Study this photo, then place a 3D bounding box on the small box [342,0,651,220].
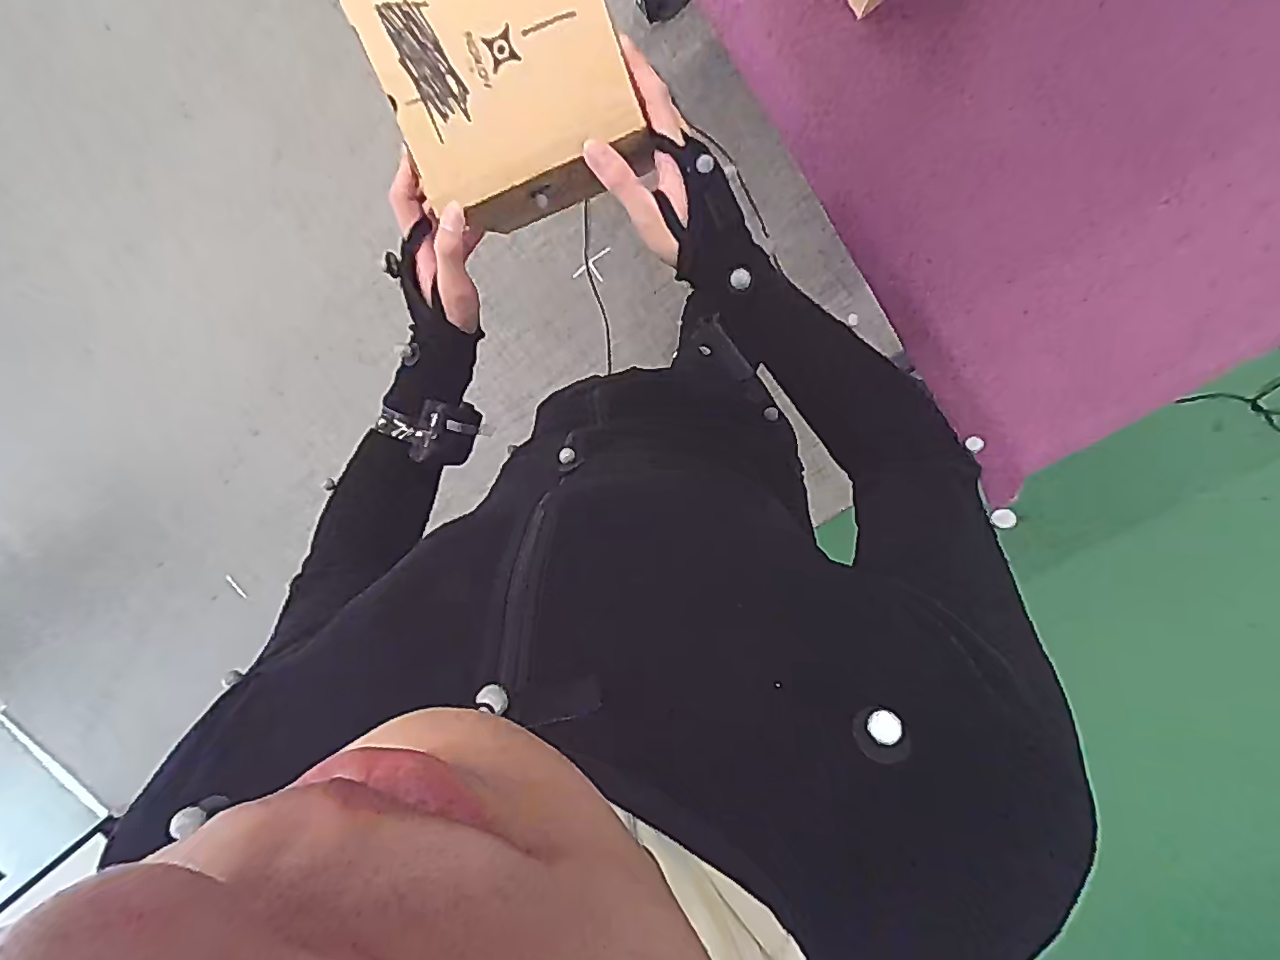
[{"bbox_3d":[-0.099,-0.334,0.448,0.179,0.176,0.168,-18,108,11],"label":"small box"}]
